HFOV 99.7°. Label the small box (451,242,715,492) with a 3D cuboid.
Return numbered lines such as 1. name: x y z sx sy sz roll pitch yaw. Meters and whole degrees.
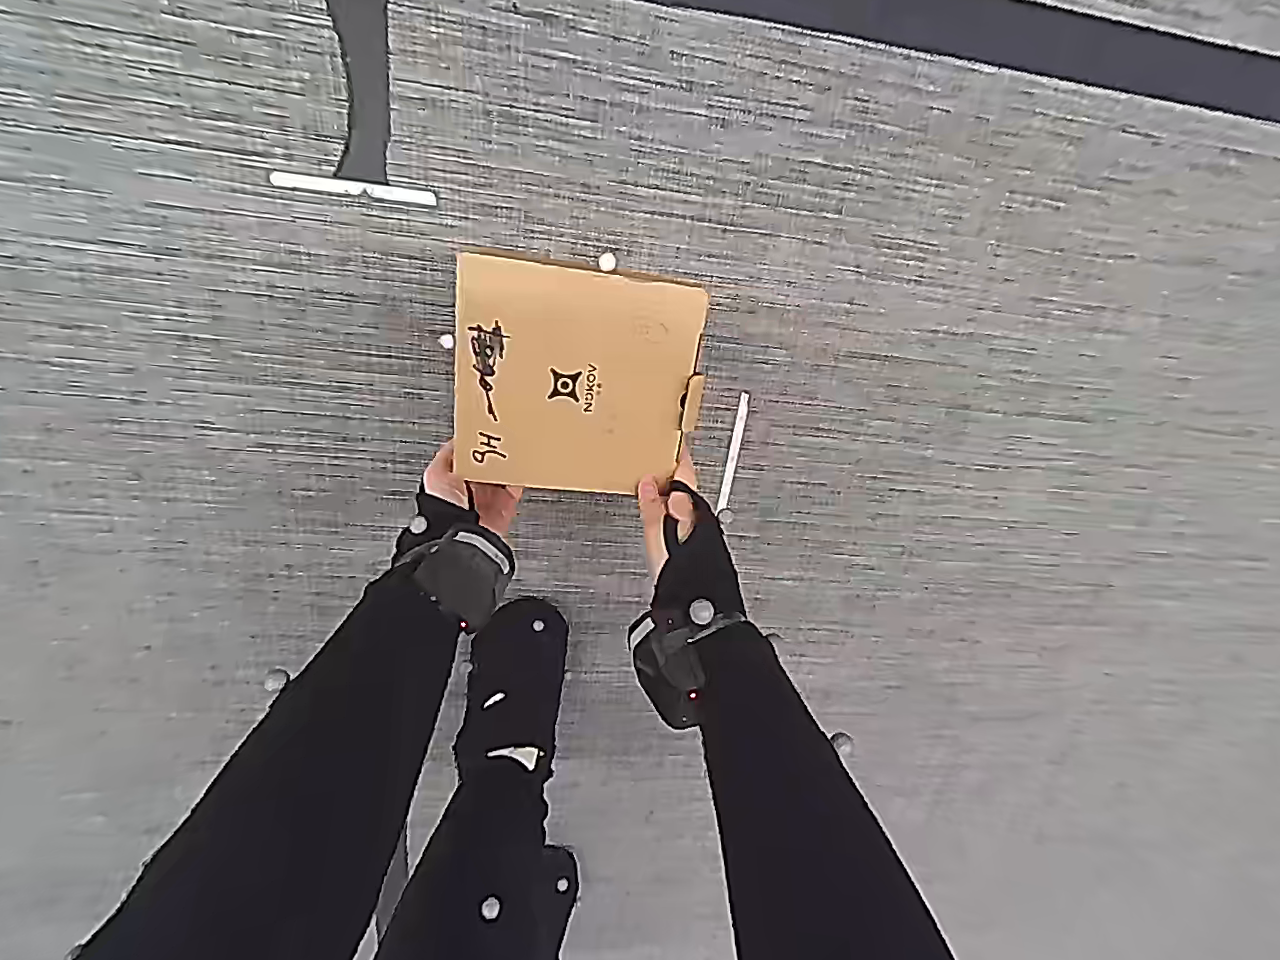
1. small box: -0.055 -0.104 0.465 0.179 0.176 0.168 6 113 -10
